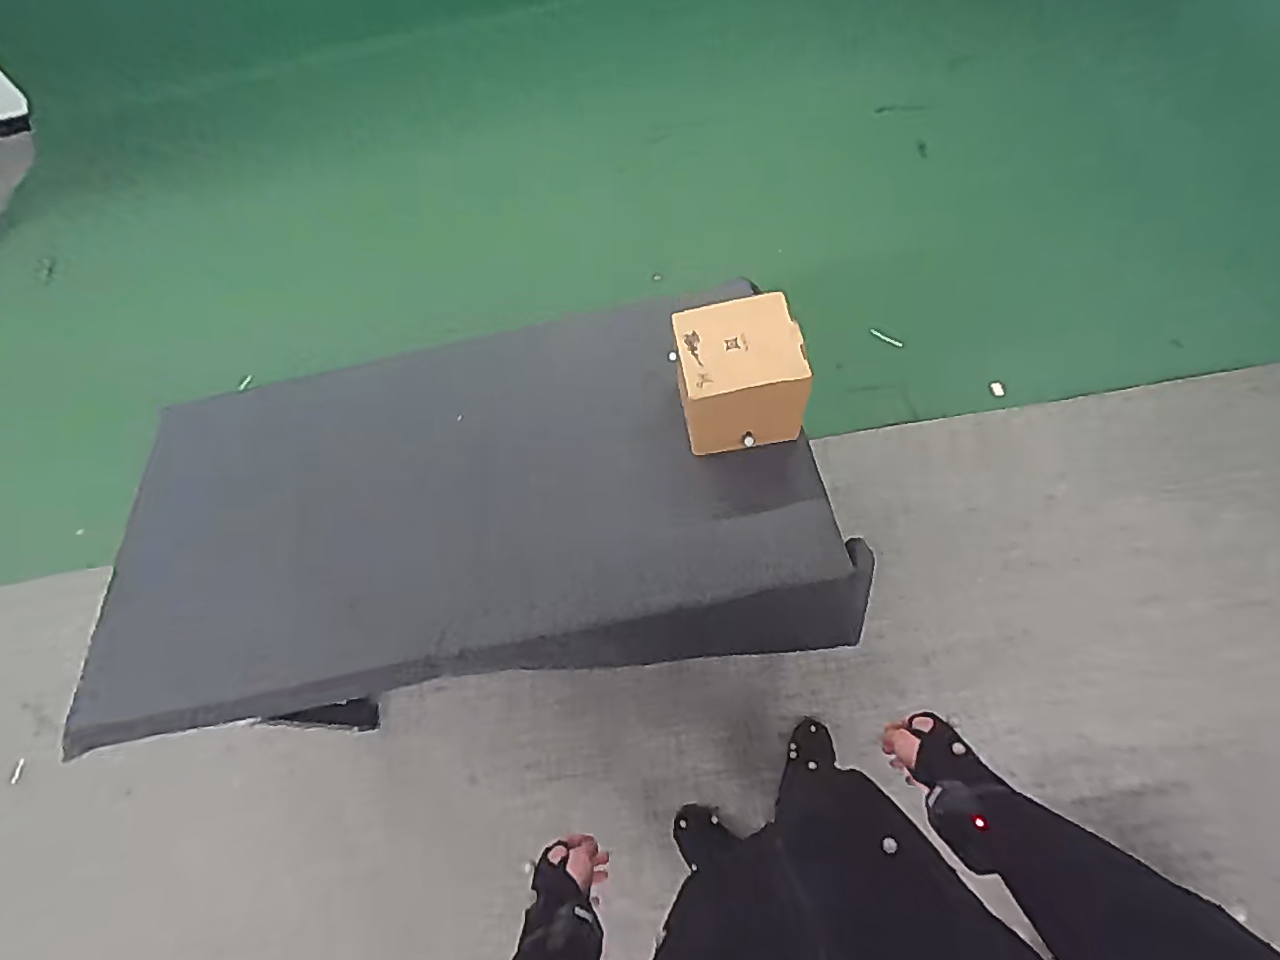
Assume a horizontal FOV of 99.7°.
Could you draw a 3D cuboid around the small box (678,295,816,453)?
[{"bbox_3d":[0.157,-0.161,0.853,0.179,0.176,0.168,-9,62,2],"label":"small box"}]
